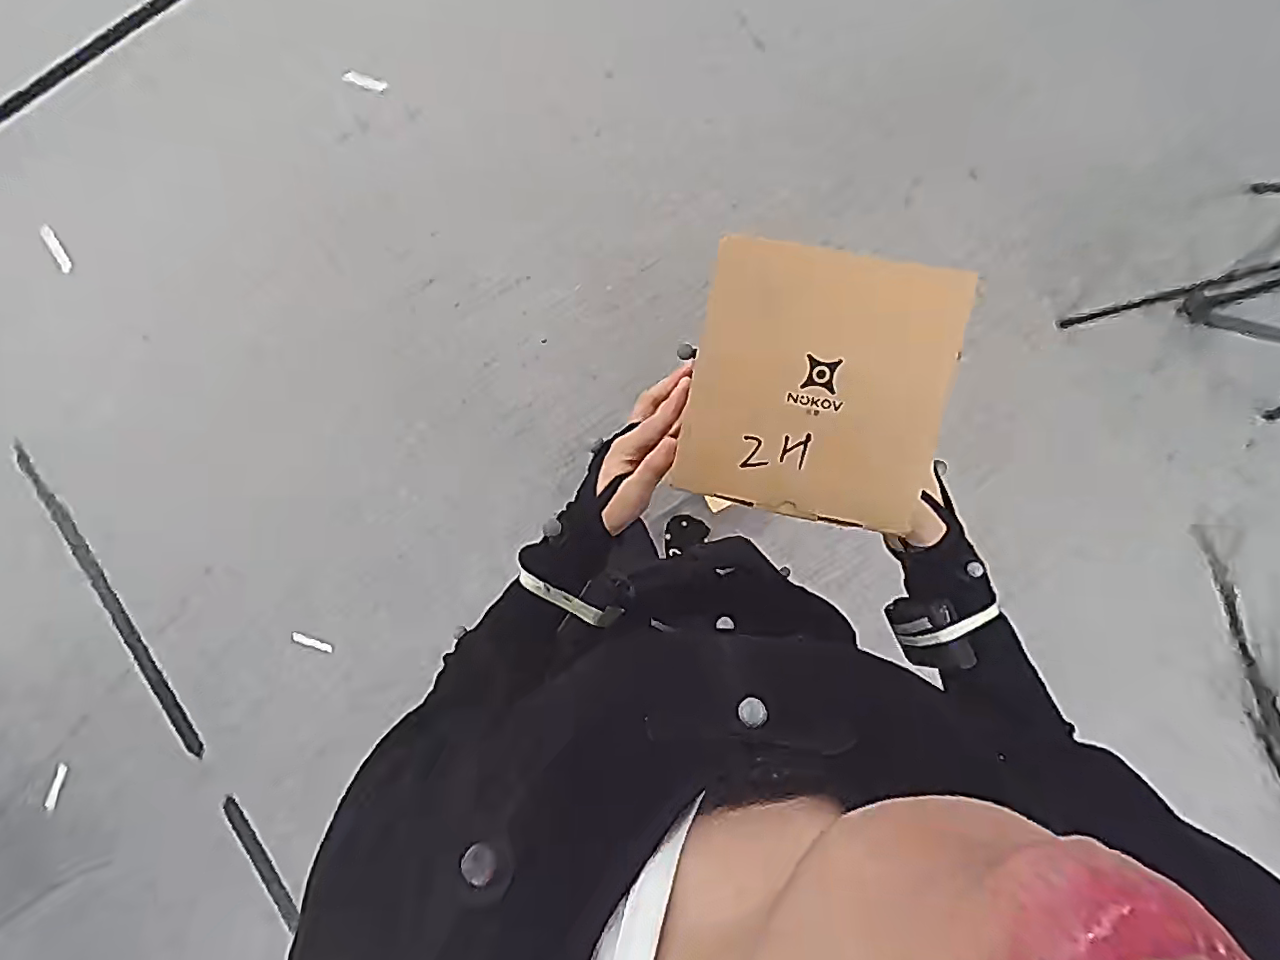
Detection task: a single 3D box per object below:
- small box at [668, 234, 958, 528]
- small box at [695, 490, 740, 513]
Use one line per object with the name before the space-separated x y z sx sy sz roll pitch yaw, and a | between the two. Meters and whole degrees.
small box | 0.121 -0.074 0.443 0.168 0.176 0.179 10 98 5
small box | 0.213 -0.030 1.410 0.168 0.176 0.179 -26 88 2
